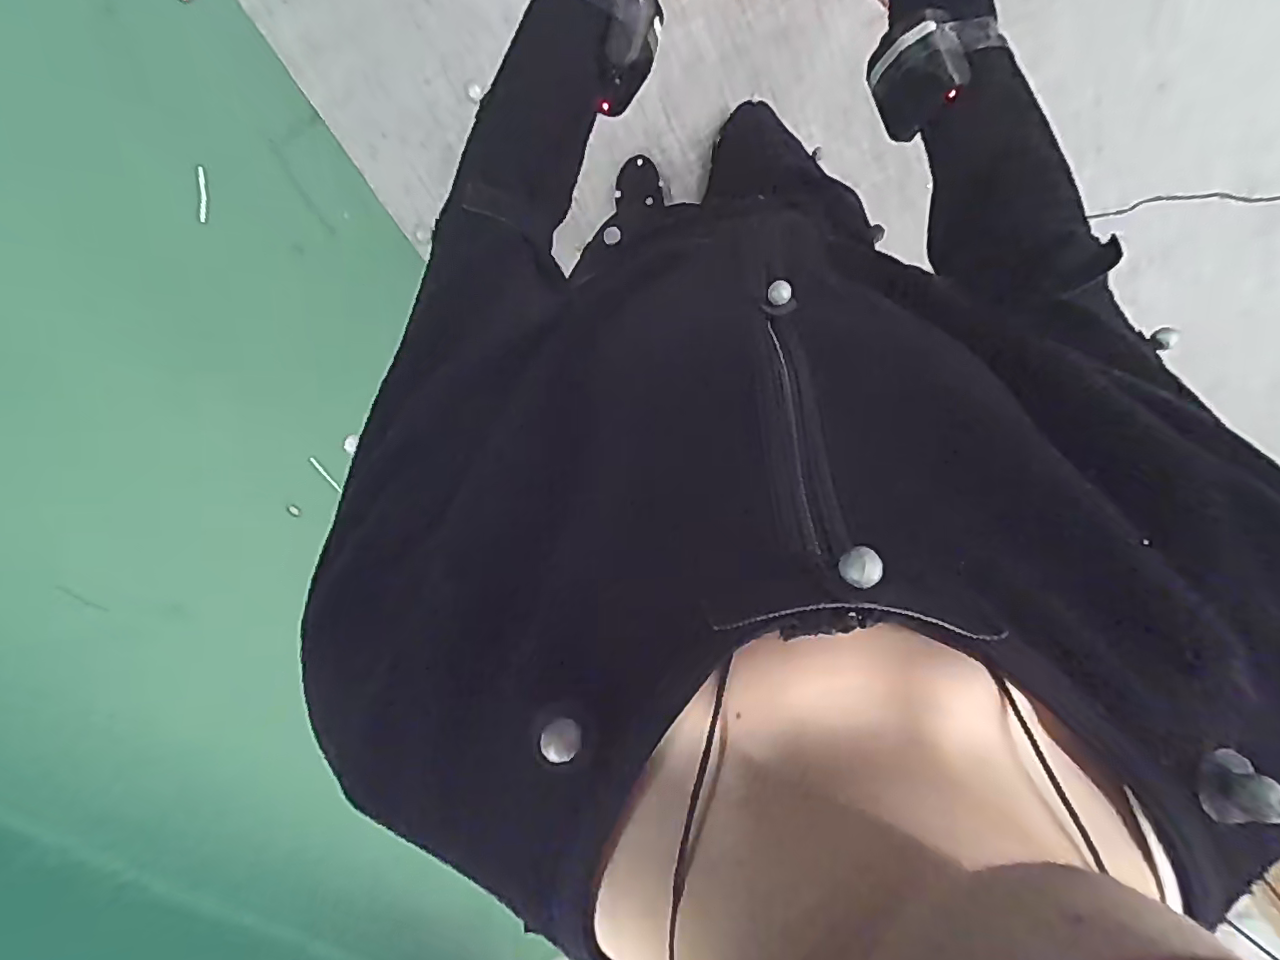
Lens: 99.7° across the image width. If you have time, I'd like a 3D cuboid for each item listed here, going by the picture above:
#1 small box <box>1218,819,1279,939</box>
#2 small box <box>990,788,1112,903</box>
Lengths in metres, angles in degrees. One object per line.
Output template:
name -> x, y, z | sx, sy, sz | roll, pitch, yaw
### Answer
small box -> 1.305, 0.800, 1.067 | 0.179, 0.176, 0.168 | -31, 116, 15
small box -> 0.965, 0.866, 1.278 | 0.168, 0.176, 0.179 | -24, 119, 11
